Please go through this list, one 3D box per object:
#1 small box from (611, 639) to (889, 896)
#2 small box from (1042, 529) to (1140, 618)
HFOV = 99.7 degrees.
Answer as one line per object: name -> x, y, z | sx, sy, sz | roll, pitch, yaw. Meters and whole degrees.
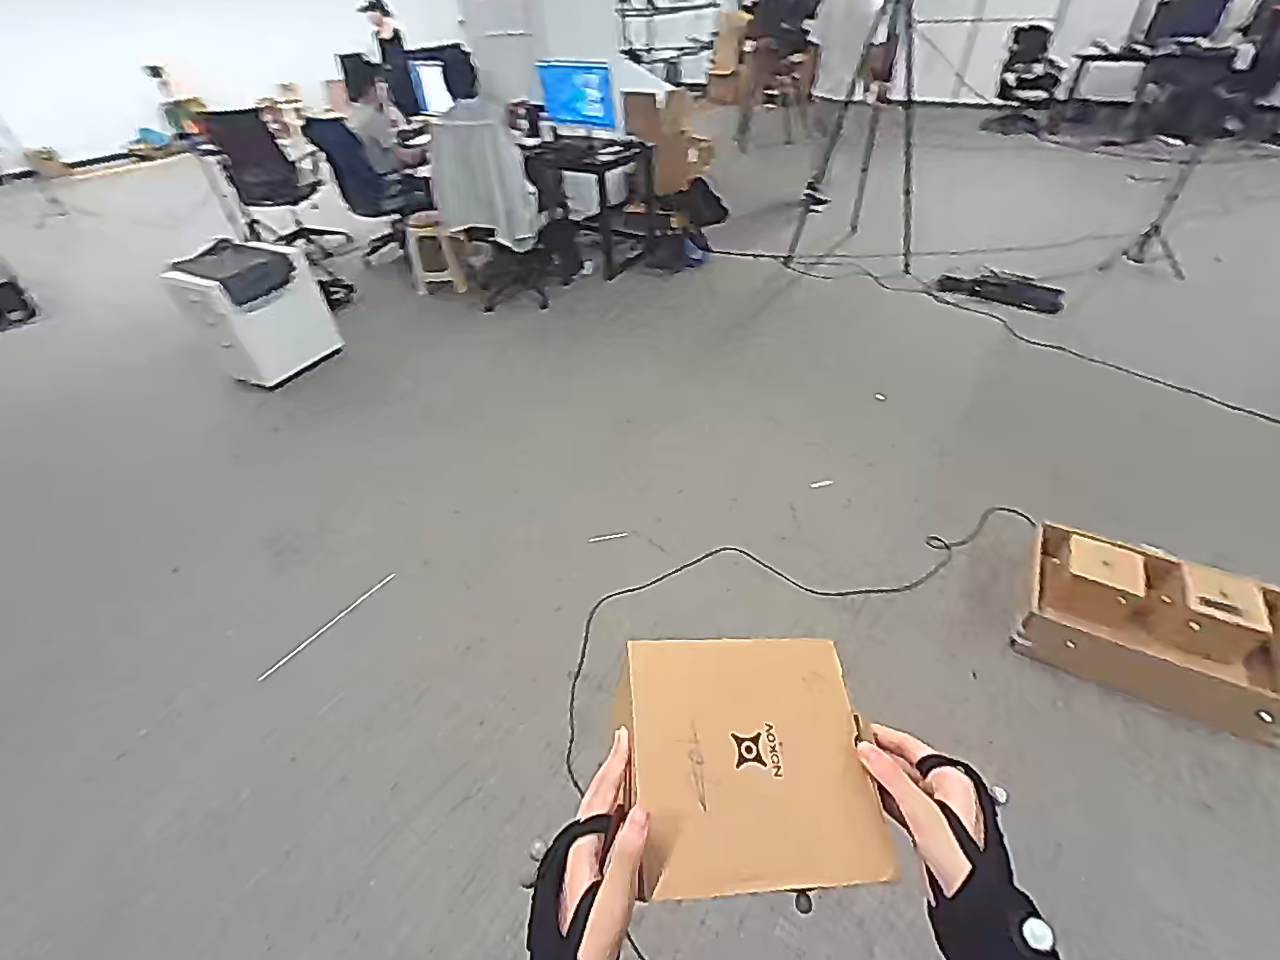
small box -> 0.069, 0.244, 0.460 | 0.179, 0.176, 0.168 | 2, 53, -7
small box -> 1.341, 0.283, 1.618 | 0.179, 0.176, 0.168 | 20, 50, 23
